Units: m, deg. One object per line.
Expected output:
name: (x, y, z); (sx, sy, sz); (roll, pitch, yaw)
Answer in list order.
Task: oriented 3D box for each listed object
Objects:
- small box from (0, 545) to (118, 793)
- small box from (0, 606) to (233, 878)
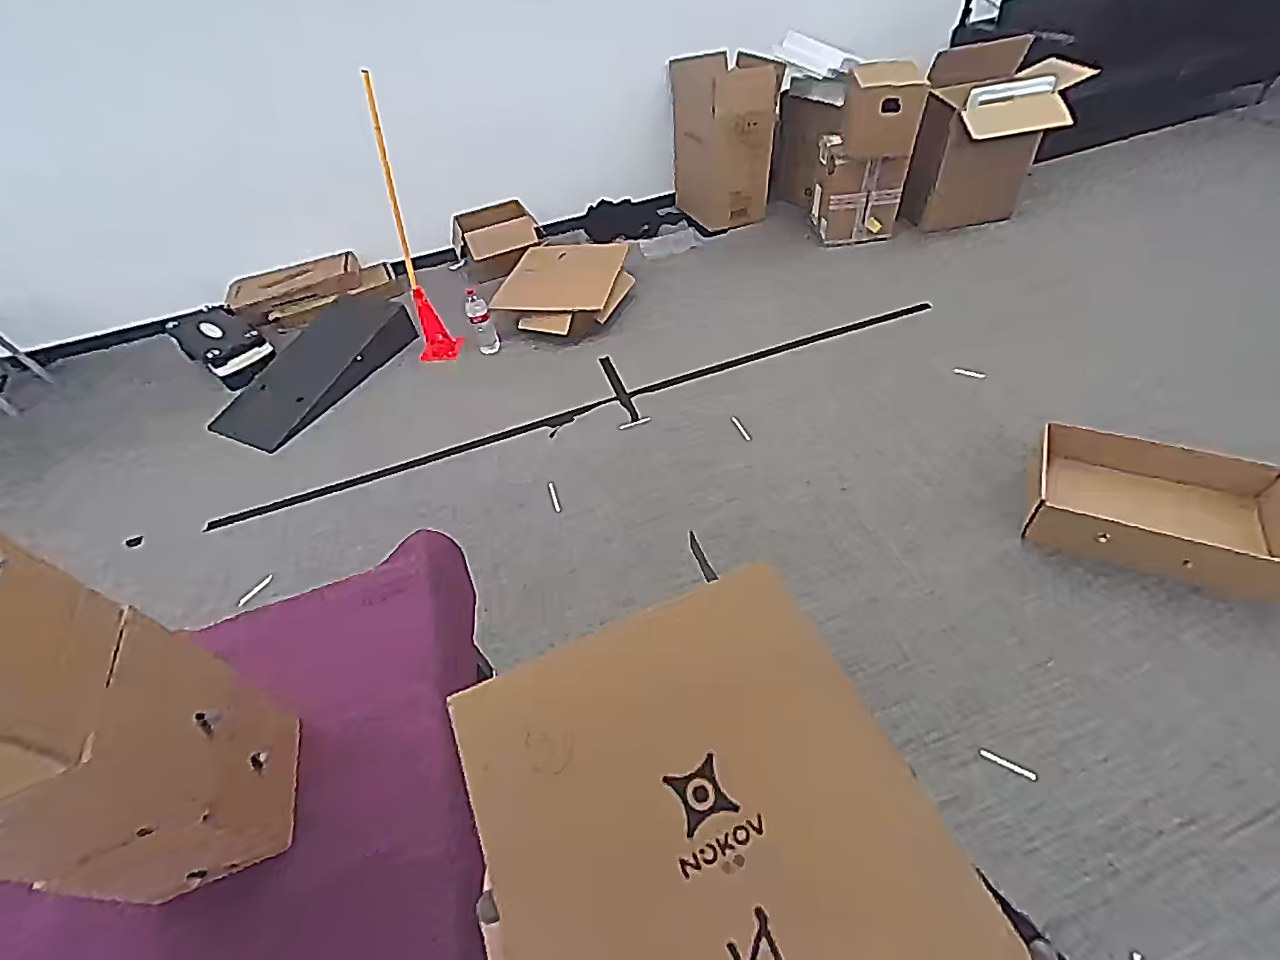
small box: (-0.591, 0.164, 0.441); (0.168, 0.176, 0.179); (-22, 49, -11)
small box: (-0.565, 0.271, 0.562); (0.168, 0.176, 0.179); (-22, 48, -11)
